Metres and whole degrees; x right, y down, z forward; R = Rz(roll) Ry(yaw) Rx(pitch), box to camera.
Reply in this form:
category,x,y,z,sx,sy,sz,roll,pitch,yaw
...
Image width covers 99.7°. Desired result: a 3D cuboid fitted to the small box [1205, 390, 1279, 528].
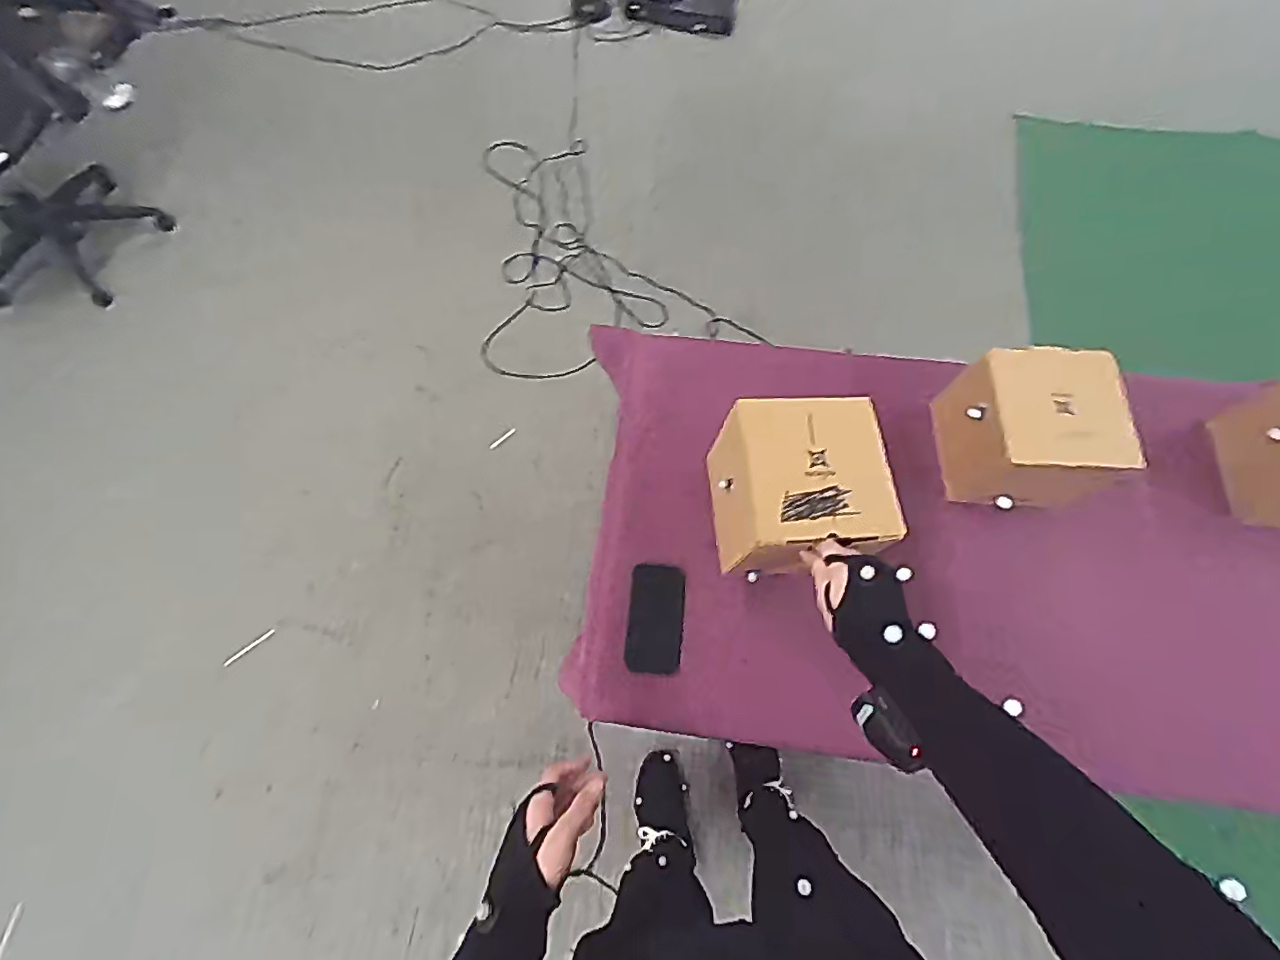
category,x,y,z,sx,sy,sz,roll,pitch,yaw
small box,0.978,-0.037,0.769,0.168,0.176,0.179,4,69,3

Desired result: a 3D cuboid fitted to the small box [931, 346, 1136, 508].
category,x,y,z,sx,sy,sz,roll,pitch,yaw
small box,0.550,-0.072,0.788,0.168,0.176,0.179,3,70,2

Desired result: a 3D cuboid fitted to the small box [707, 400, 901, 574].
category,x,y,z,sx,sy,sz,roll,pitch,yaw
small box,0.187,0.018,0.672,0.168,0.176,0.179,-1,68,-7
